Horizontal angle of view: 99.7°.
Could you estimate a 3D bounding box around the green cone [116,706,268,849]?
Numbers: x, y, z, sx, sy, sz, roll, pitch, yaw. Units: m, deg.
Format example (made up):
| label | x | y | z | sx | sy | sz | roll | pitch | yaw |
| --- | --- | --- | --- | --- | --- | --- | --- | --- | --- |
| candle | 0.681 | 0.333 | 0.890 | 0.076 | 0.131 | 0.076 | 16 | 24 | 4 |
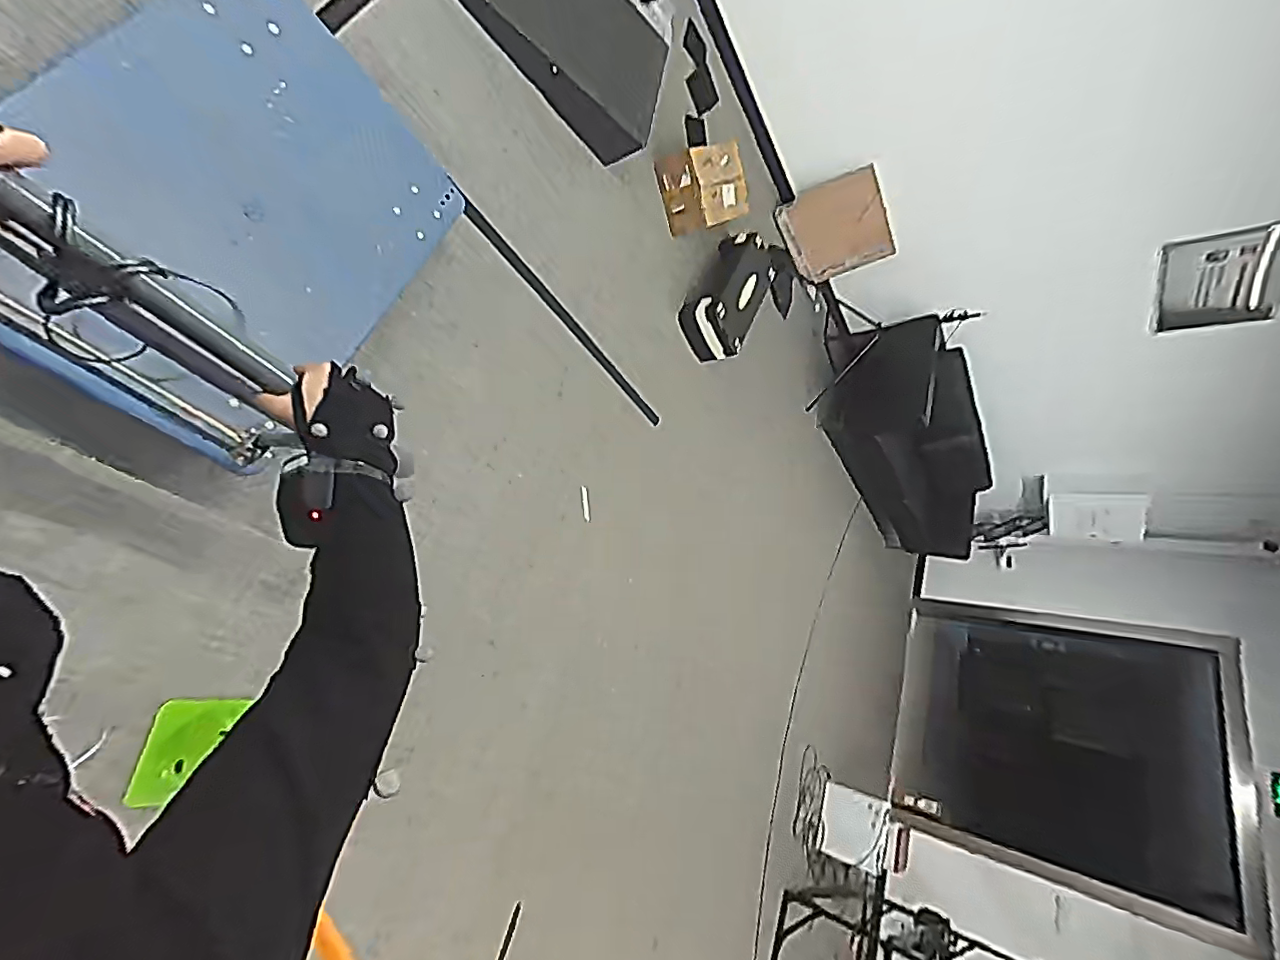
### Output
| label | x | y | z | sx | sy | sz | roll | pitch | yaw |
| --- | --- | --- | --- | --- | --- | --- | --- | --- | --- |
| green cone | -0.772 | 0.571 | 0.994 | 0.200 | 0.368 | 0.202 | 27 | 71 | -49 |
